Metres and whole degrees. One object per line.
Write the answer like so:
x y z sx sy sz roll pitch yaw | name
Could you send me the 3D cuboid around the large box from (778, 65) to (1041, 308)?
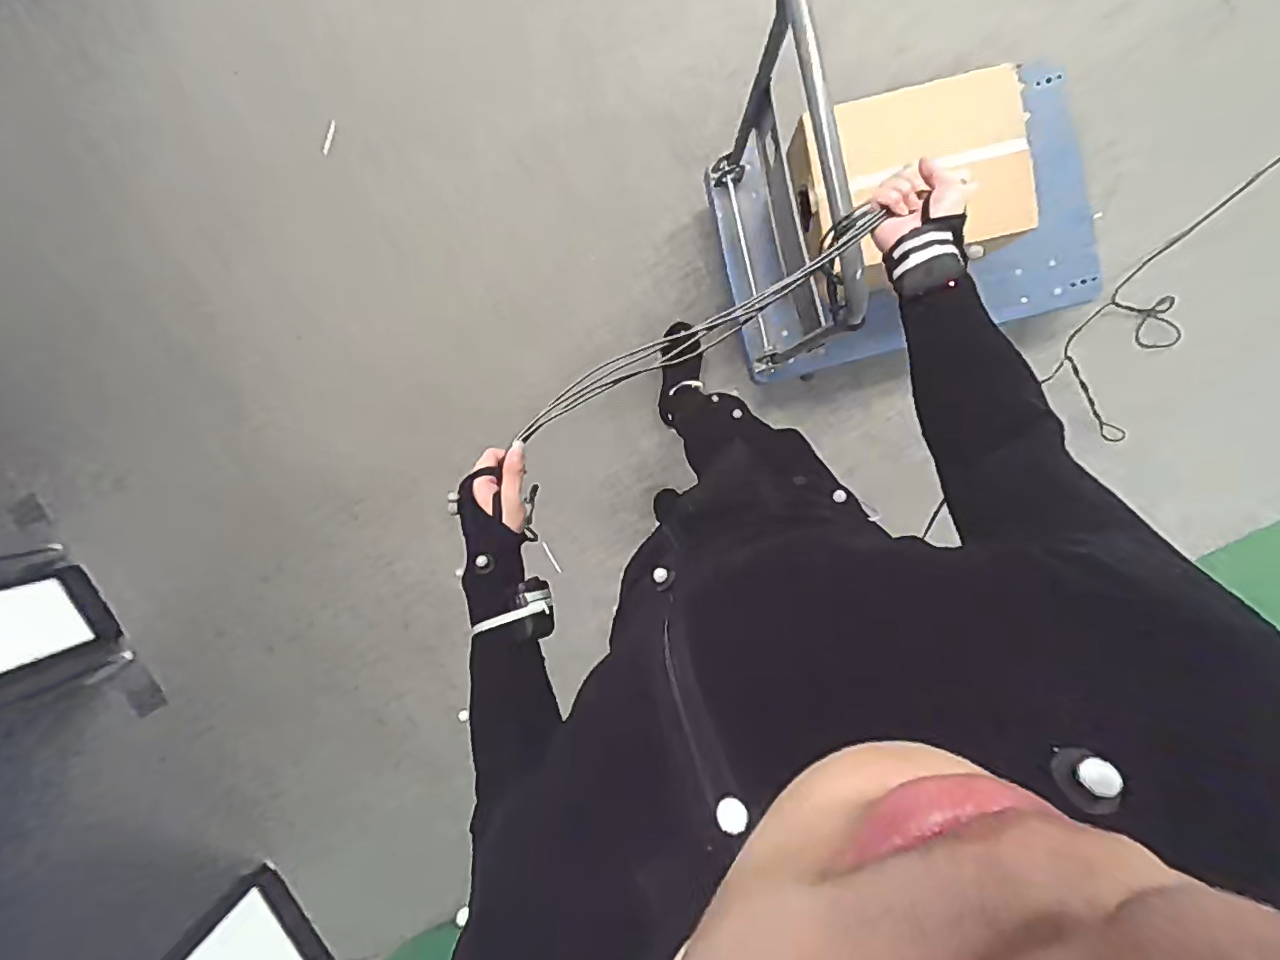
0.553 -0.603 1.184 0.408 0.320 0.320 -11 95 4 | large box
